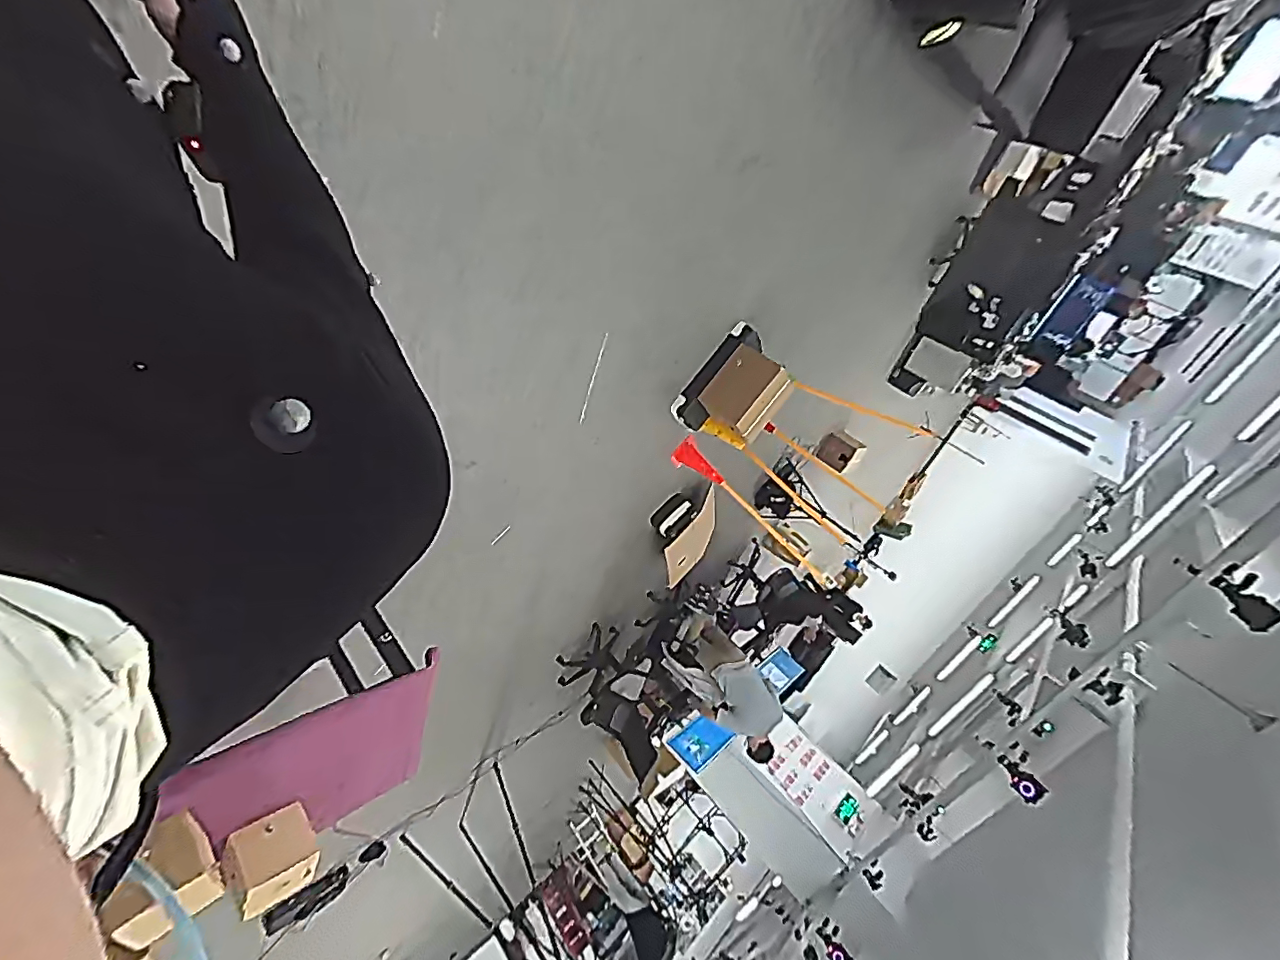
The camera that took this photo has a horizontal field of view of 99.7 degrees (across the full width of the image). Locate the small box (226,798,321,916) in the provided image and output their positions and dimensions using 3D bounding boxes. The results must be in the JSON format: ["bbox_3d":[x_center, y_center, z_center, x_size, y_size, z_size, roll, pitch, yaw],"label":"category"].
[{"bbox_3d":[-1.030,1.045,1.512,0.179,0.176,0.168,-7,130,-51],"label":"small box"}]

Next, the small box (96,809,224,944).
[{"bbox_3d":[-1.097,0.903,1.242,0.168,0.176,0.179,-24,144,-40],"label":"small box"}]
